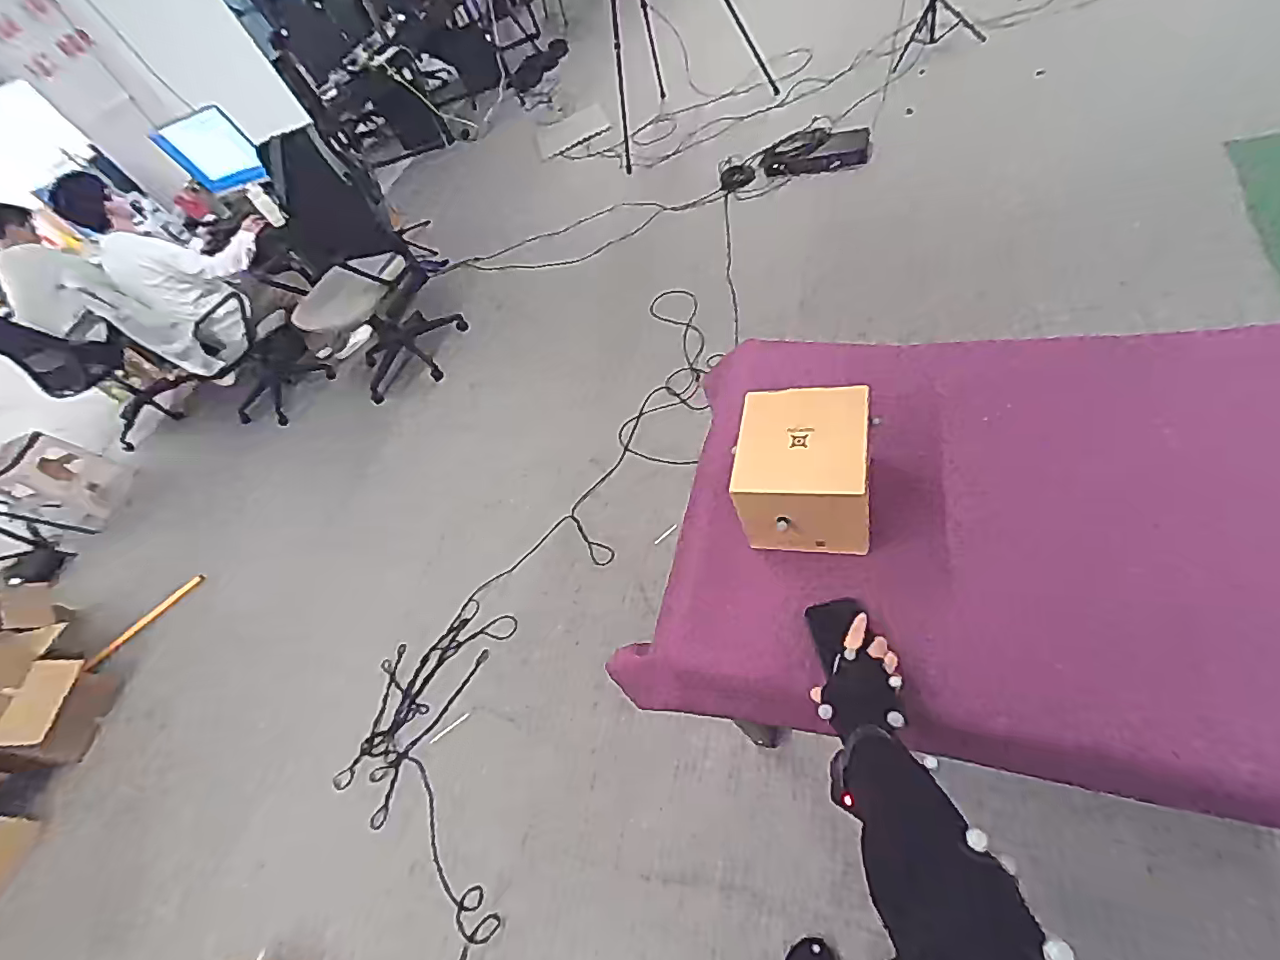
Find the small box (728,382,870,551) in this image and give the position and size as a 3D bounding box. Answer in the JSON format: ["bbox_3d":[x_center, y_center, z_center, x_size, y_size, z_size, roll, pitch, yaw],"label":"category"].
[{"bbox_3d":[0.234,-0.014,0.768,0.168,0.176,0.179,0,55,24],"label":"small box"}]
